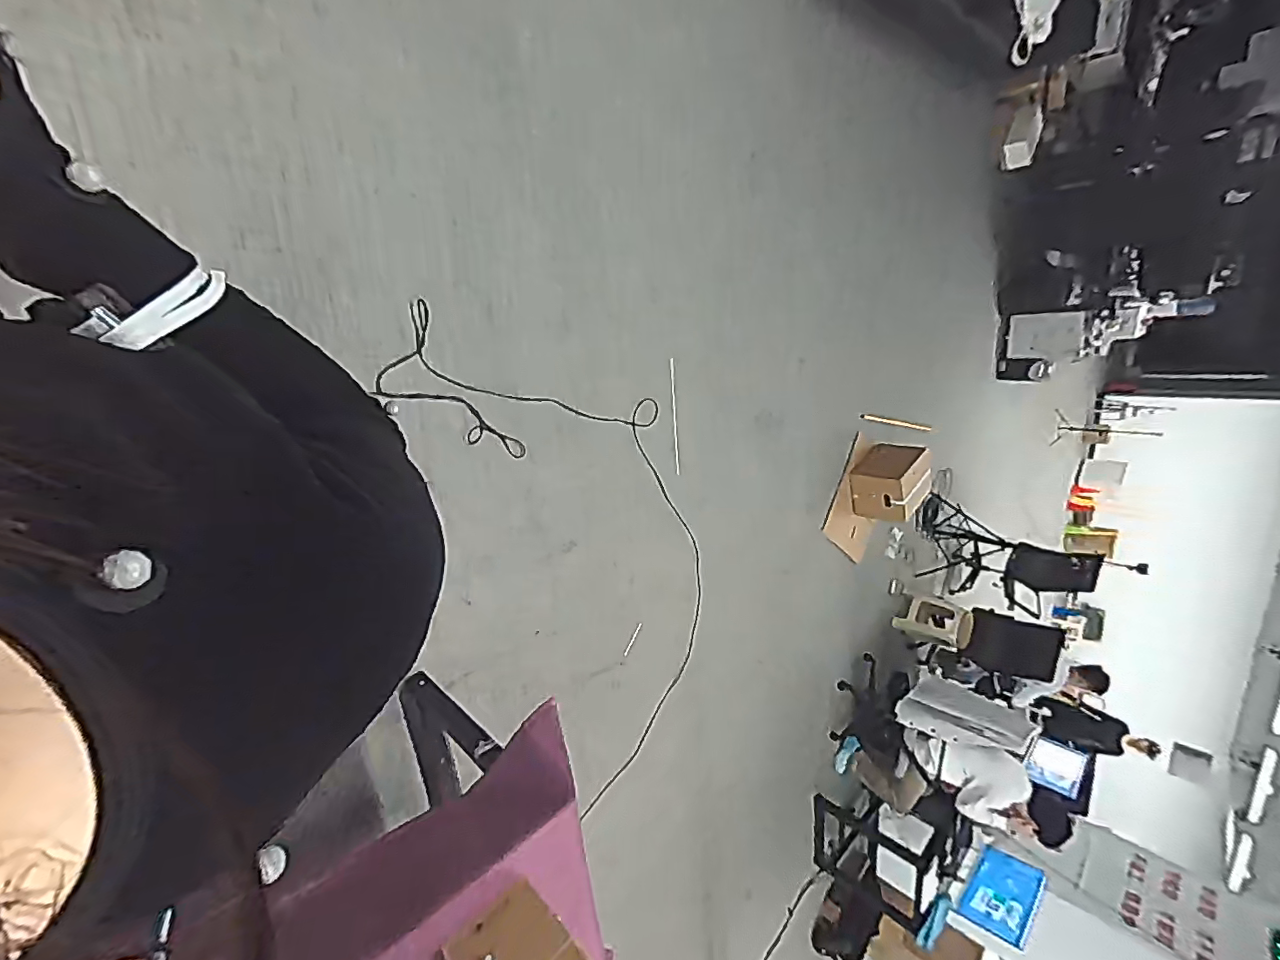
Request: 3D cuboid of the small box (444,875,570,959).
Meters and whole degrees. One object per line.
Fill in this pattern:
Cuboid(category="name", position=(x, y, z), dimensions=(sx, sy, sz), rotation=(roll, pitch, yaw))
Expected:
Cuboid(category="small box", position=(-0.227, 0.857, 0.961), dimensions=(0.168, 0.176, 0.179), rotation=(-22, 114, -38))
